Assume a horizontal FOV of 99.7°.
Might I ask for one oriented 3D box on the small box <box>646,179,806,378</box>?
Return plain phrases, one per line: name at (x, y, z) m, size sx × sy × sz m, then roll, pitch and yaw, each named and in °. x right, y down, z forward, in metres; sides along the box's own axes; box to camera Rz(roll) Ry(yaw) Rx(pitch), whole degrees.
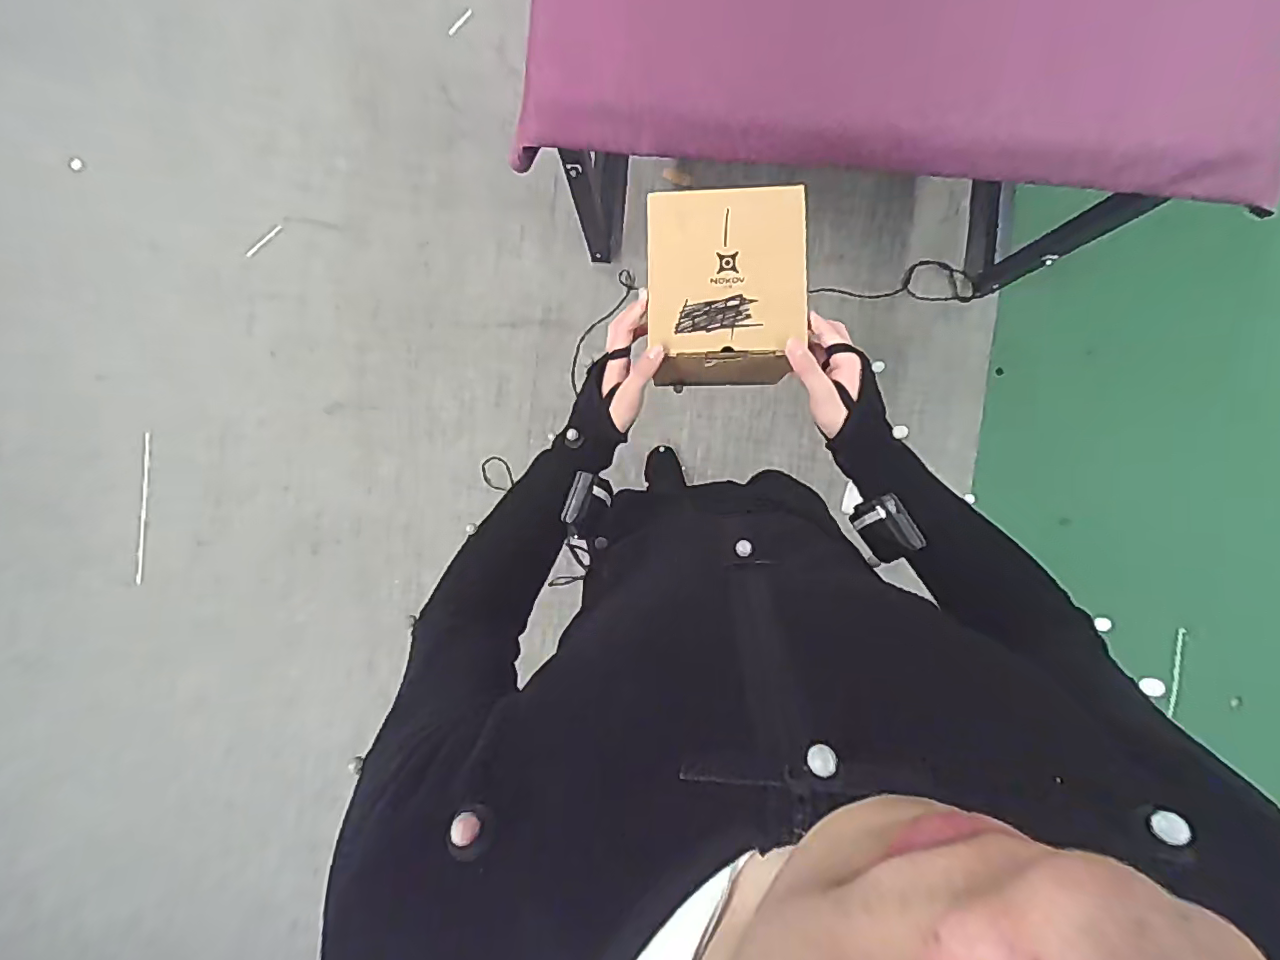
small box at (0.094, -0.219, 0.635) m, size 0.168 × 0.176 × 0.179 m, roll -1°, pitch 88°, yaw 4°
